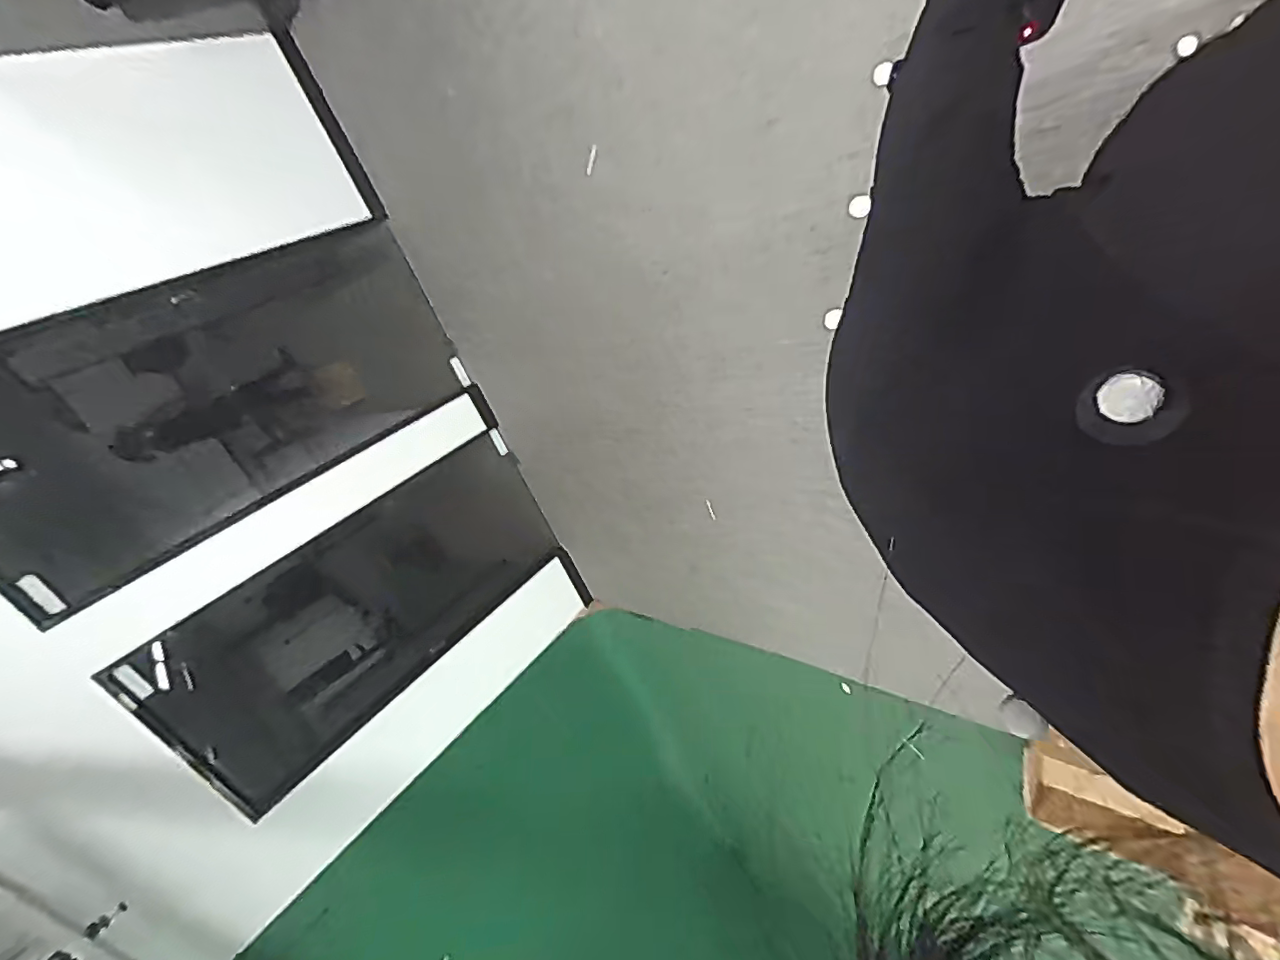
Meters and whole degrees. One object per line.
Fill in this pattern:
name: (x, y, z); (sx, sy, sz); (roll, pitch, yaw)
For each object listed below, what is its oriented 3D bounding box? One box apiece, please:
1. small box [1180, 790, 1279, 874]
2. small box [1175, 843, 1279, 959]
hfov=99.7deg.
small box: (1.643, 1.011, 1.505); (0.179, 0.176, 0.168); (8, 128, 46)
small box: (1.537, 1.096, 1.412); (0.179, 0.176, 0.168); (8, 128, 44)
